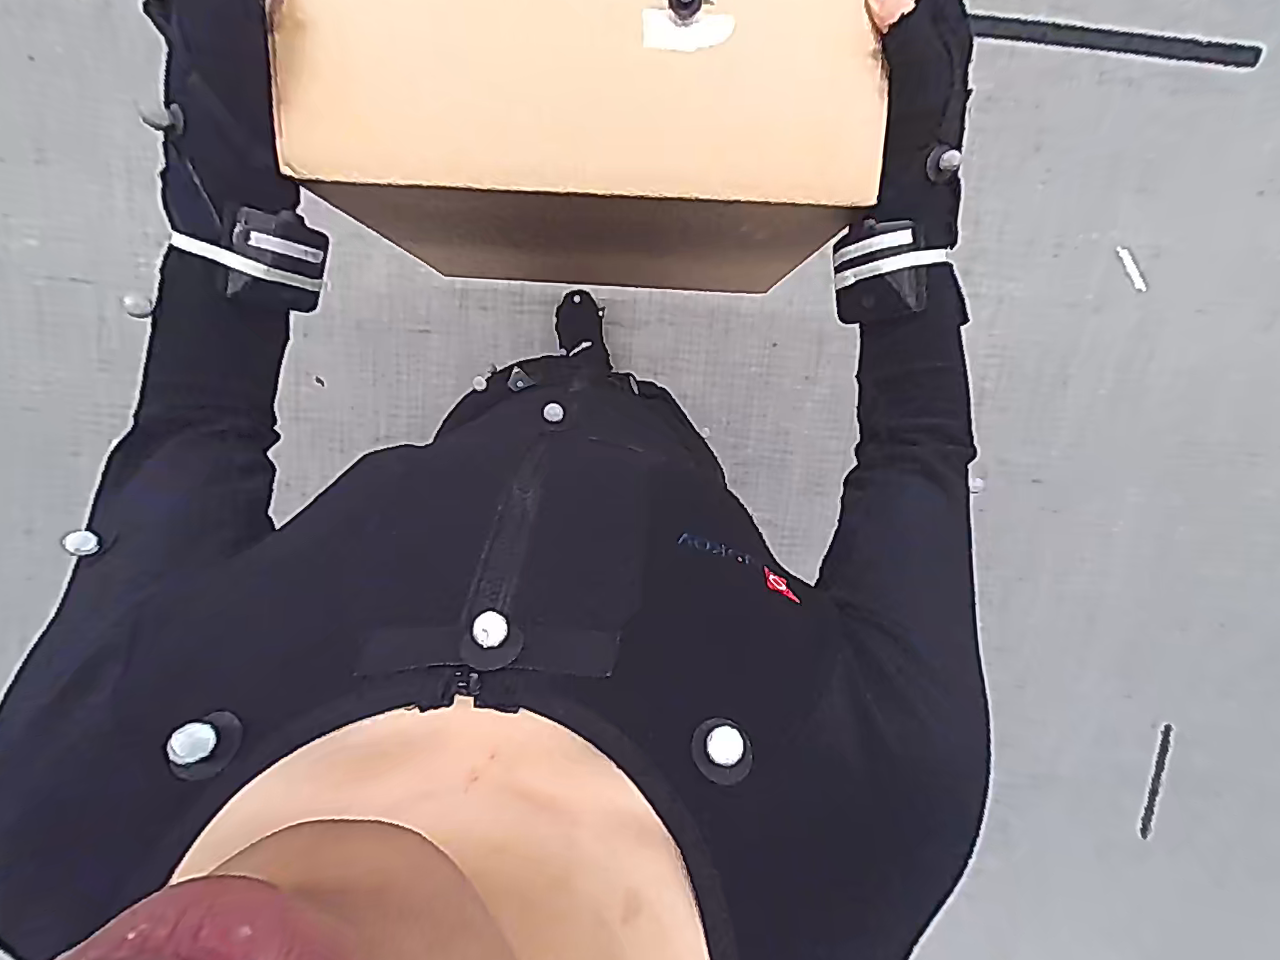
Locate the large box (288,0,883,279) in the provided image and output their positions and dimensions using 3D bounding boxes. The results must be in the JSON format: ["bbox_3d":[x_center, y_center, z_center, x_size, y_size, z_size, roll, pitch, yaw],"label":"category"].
[{"bbox_3d":[-0.036,-0.384,0.502,0.408,0.320,0.320,2,98,-1],"label":"large box"}]
